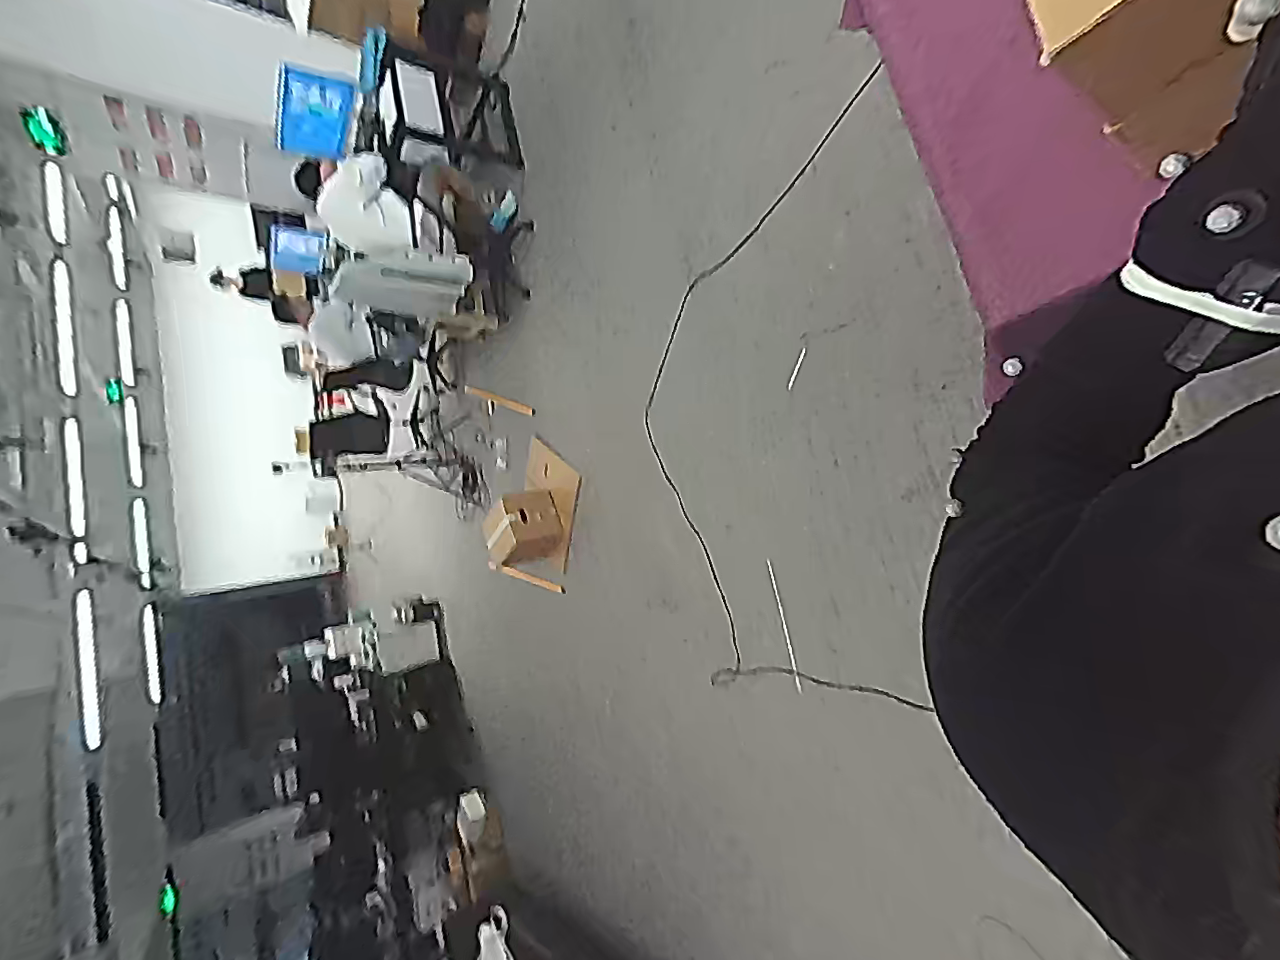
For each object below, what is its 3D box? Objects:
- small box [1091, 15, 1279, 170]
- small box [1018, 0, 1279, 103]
[{"bbox_3d":[0.519,-0.424,0.487,0.179,0.176,0.168,-22,77,52],"label":"small box"},{"bbox_3d":[0.387,-0.415,0.390,0.168,0.176,0.179,-20,78,53],"label":"small box"}]
